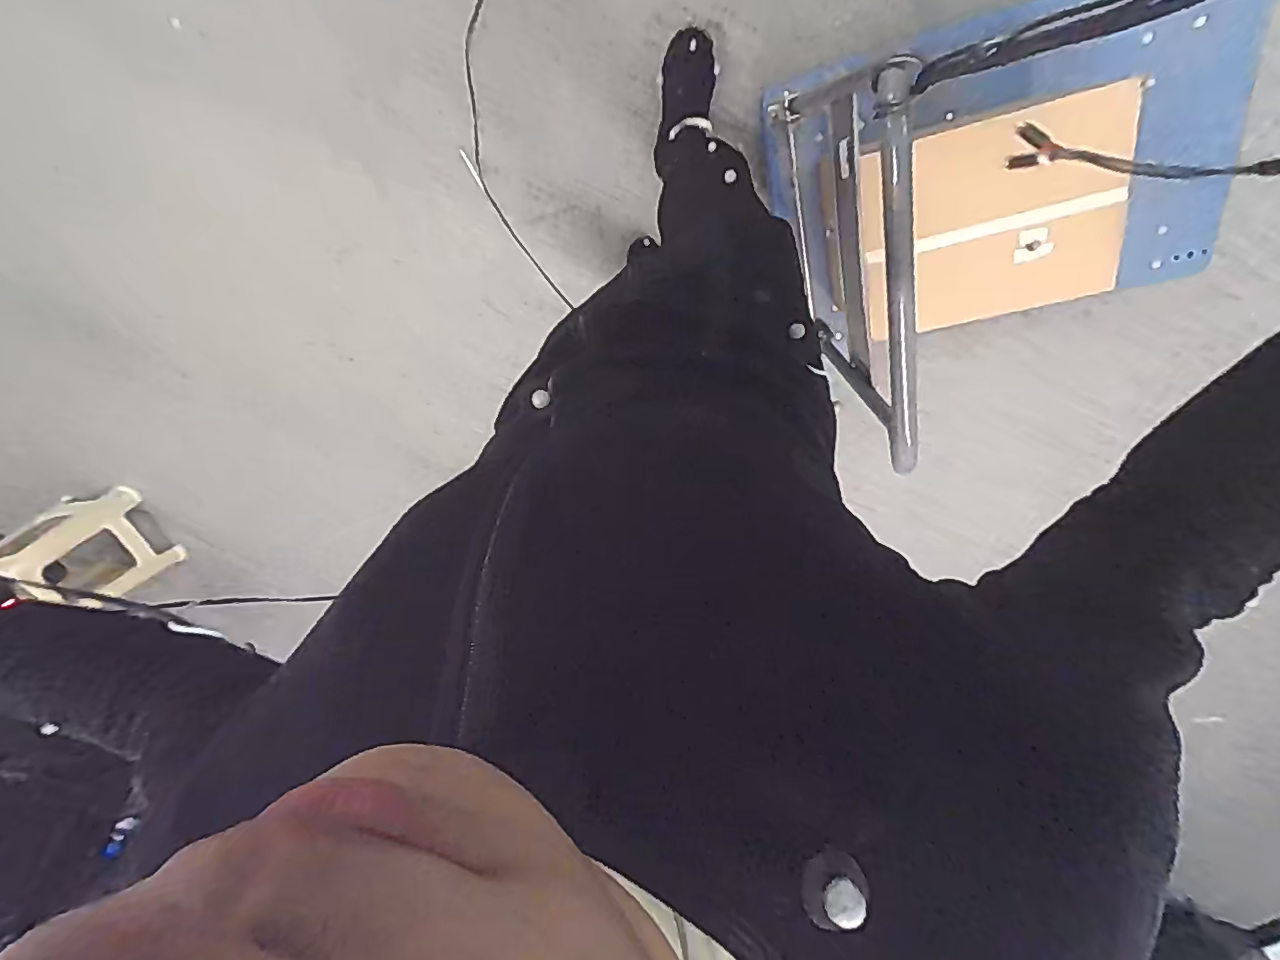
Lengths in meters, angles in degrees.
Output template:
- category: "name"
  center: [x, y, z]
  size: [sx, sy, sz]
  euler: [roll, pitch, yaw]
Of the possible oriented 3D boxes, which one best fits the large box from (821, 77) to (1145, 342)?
- category: "large box"
  center: [0.589, -0.491, 1.017]
  size: [0.408, 0.320, 0.320]
  euler: [-10, 120, 11]
